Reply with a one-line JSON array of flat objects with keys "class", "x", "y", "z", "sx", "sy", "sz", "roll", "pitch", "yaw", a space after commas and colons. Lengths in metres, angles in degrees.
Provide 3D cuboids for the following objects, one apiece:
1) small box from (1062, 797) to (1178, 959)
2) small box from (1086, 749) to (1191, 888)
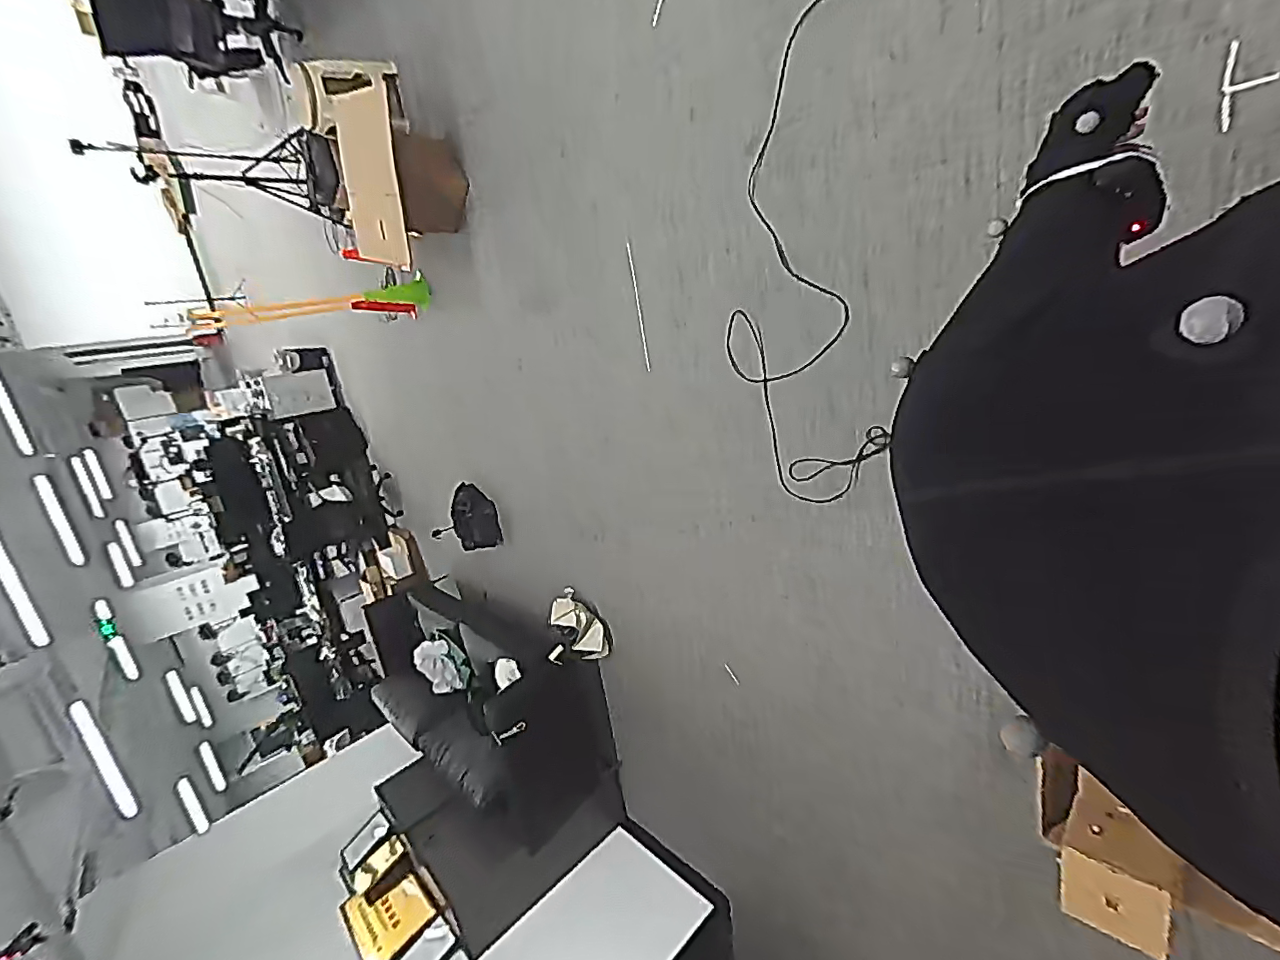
[{"class": "small box", "x": 1.000, "y": 0.813, "z": 1.127, "sx": 0.168, "sy": 0.176, "sz": 0.179, "roll": 5, "pitch": 111, "yaw": 46}, {"class": "small box", "x": 1.138, "y": 0.757, "z": 1.233, "sx": 0.168, "sy": 0.176, "sz": 0.179, "roll": -2, "pitch": 107, "yaw": 47}]
